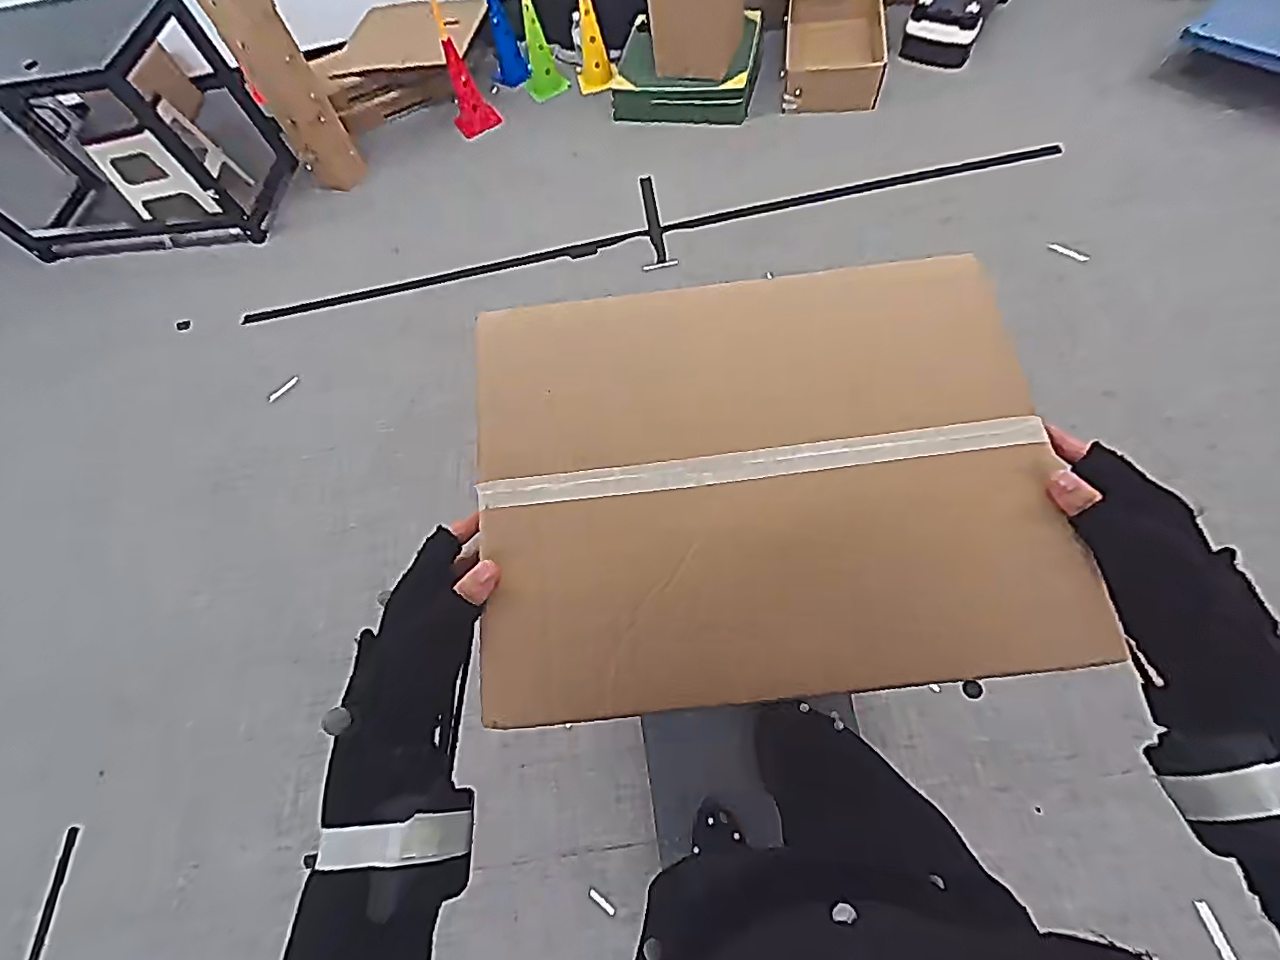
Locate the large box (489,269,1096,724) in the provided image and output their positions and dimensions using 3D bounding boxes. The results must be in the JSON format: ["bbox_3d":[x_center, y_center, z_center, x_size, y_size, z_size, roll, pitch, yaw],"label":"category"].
[{"bbox_3d":[0.096,0.038,0.541,0.408,0.320,0.320,-6,71,1],"label":"large box"}]
